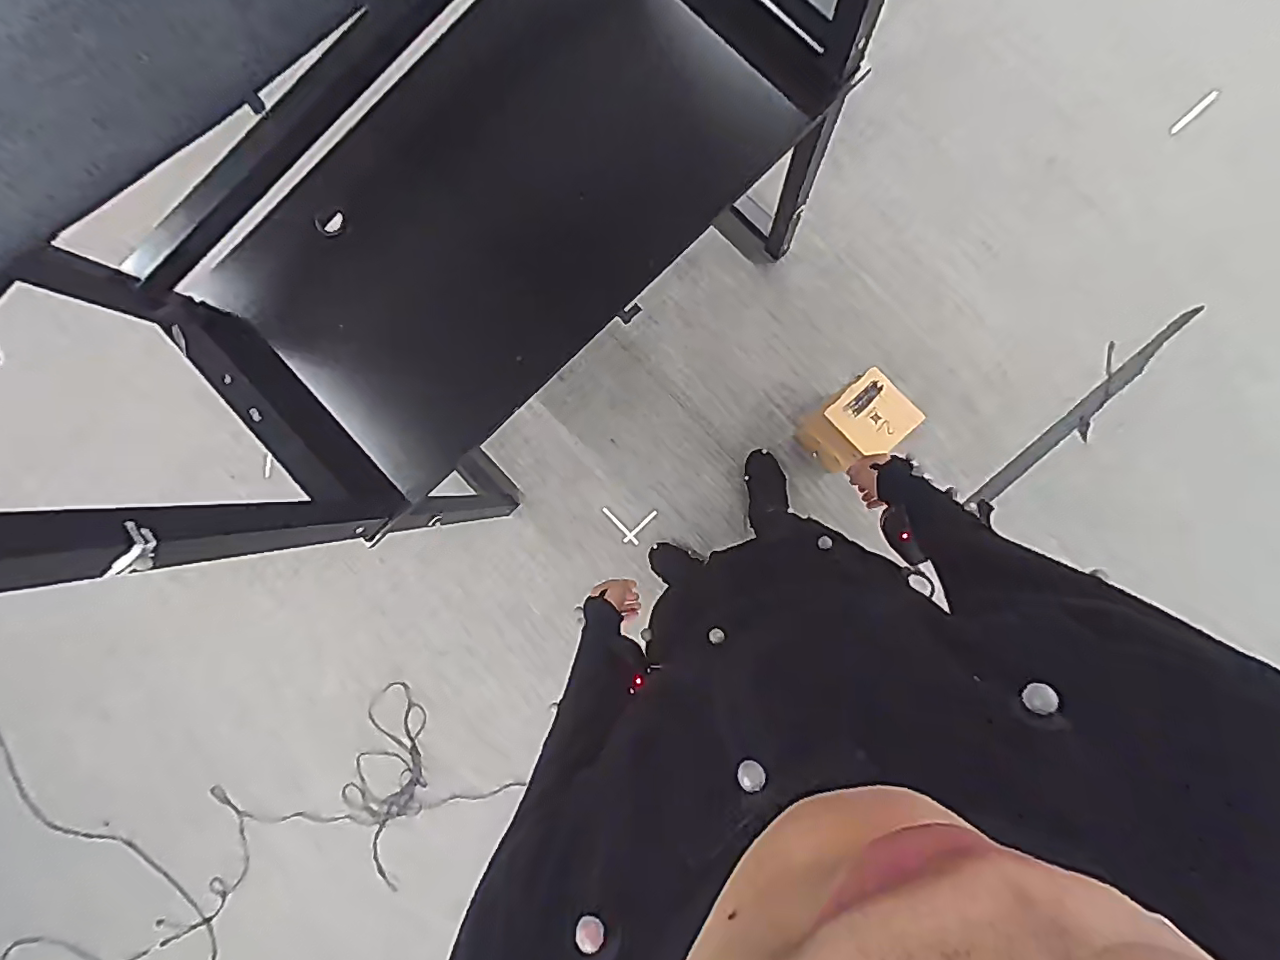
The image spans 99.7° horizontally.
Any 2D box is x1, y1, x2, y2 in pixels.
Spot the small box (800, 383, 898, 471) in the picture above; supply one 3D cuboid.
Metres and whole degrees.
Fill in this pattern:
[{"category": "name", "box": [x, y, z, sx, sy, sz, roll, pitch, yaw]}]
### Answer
[{"category": "small box", "box": [0.576, -0.142, 1.519, 0.168, 0.176, 0.179, 45, 94, 5]}]
